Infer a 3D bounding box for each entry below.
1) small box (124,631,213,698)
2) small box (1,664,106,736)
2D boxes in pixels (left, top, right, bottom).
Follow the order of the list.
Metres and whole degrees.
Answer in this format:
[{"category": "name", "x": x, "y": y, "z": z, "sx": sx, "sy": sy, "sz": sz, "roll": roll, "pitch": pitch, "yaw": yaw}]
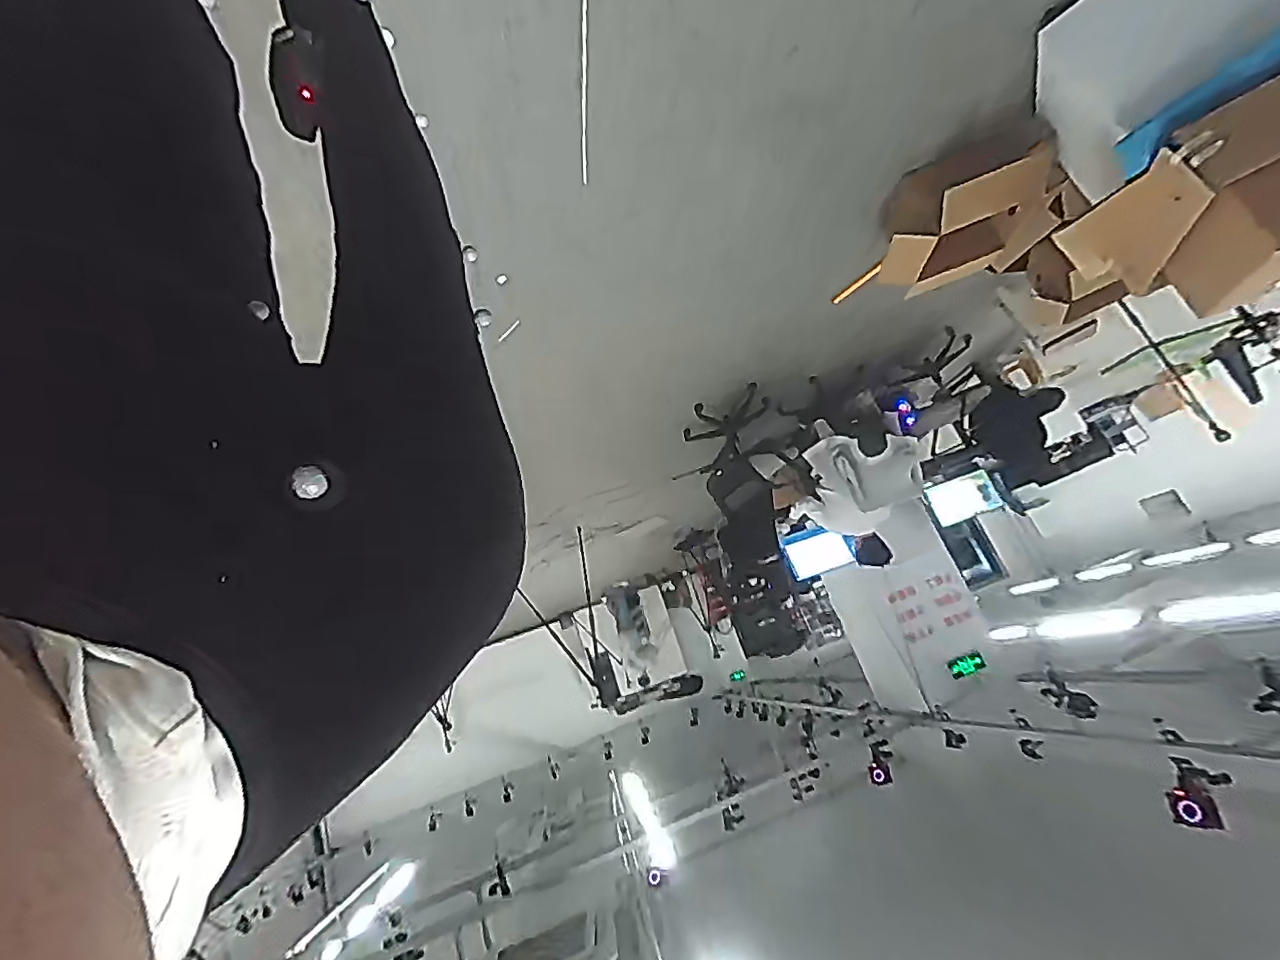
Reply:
[{"category": "small box", "x": -1.610, "y": 0.632, "z": 1.850, "sx": 0.179, "sy": 0.176, "sz": 0.168, "roll": -17, "pitch": 163, "yaw": -12}, {"category": "small box", "x": -1.919, "y": 0.720, "z": 1.777, "sx": 0.179, "sy": 0.176, "sz": 0.168, "roll": -18, "pitch": 162, "yaw": -13}]
